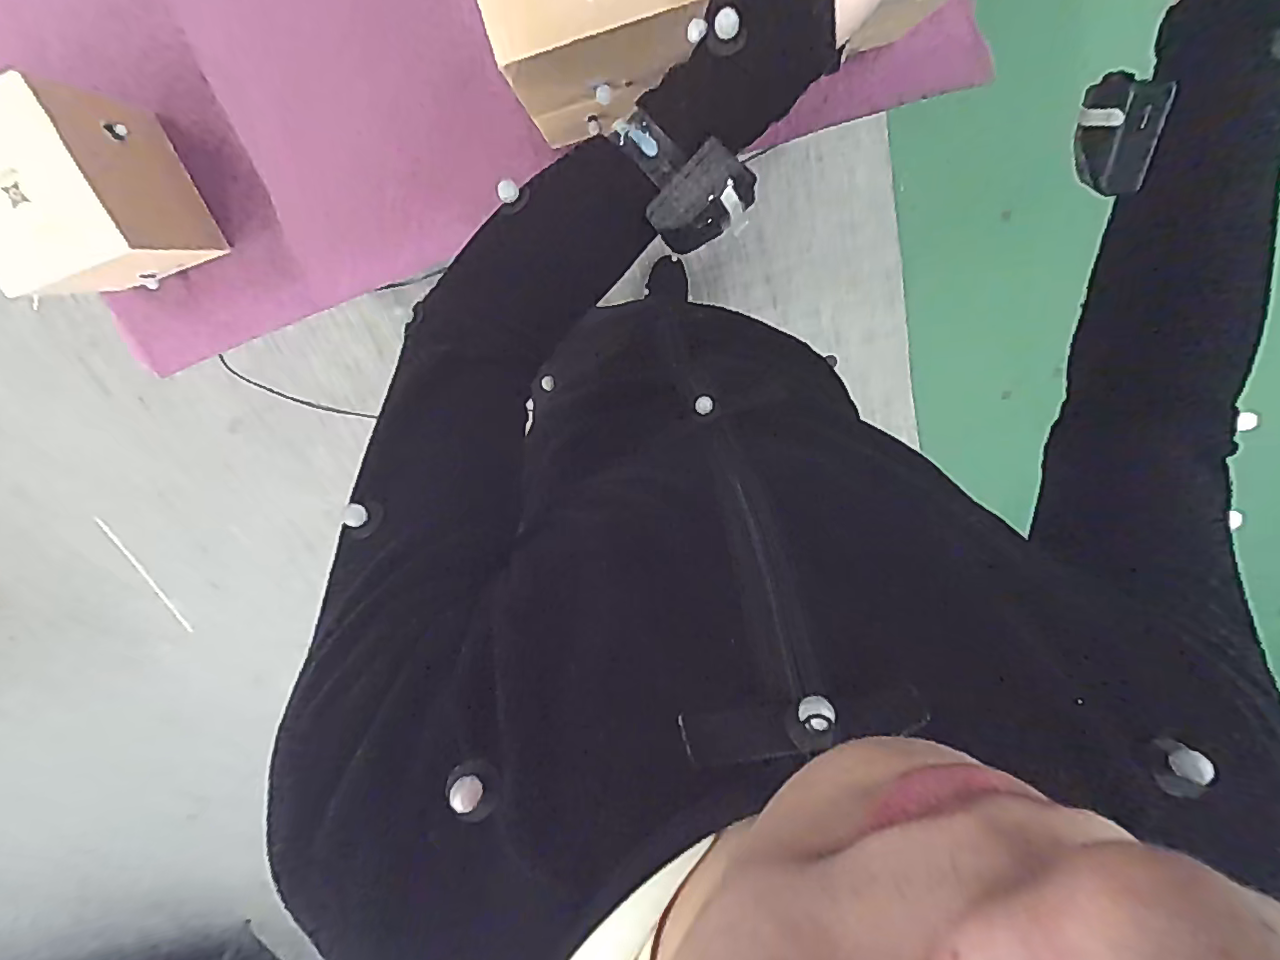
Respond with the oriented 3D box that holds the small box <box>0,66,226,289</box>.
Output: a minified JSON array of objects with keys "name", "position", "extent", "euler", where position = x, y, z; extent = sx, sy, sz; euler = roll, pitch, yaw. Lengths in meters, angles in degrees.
[{"name":"small box","position":[-0.660,-0.340,0.642],"extent":[0.168,0.176,0.179],"euler":[-16,112,6]}]

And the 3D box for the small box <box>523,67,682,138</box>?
[{"name":"small box","position":[-0.055,-0.499,0.592],"extent":[0.168,0.176,0.179],"euler":[-15,111,5]}]

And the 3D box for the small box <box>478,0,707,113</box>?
[{"name":"small box","position":[-0.052,-0.437,0.440],"extent":[0.168,0.176,0.179],"euler":[-14,113,5]}]
